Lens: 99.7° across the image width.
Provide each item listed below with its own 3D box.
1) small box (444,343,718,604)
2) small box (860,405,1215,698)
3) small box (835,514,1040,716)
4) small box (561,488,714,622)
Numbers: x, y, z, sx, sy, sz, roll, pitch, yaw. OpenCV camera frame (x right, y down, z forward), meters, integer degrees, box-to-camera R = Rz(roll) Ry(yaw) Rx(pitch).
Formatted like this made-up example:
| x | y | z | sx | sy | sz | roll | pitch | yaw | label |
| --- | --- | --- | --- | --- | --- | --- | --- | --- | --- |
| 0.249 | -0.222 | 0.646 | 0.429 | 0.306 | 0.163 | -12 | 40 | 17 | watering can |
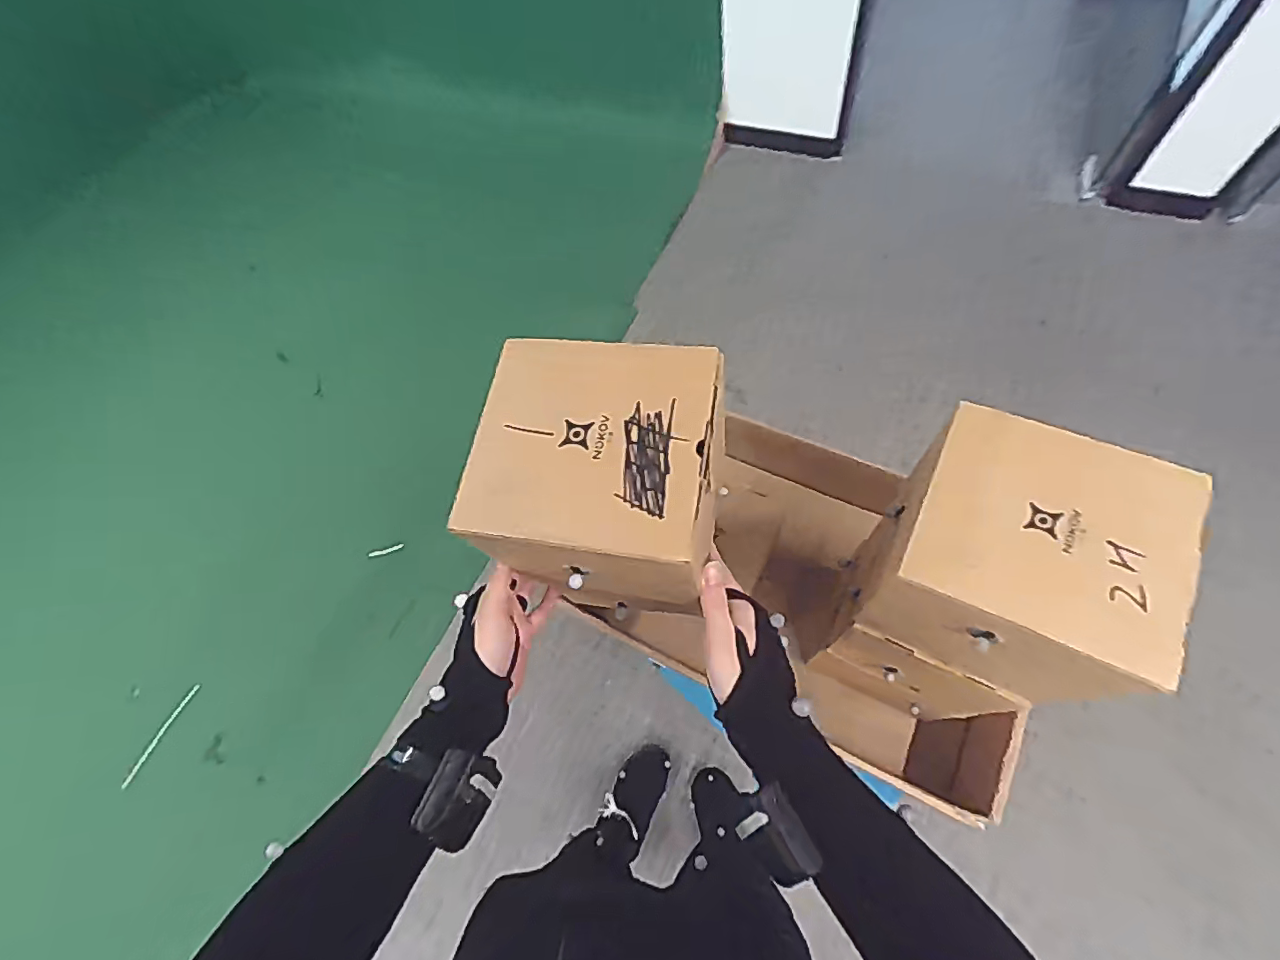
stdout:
| x | y | z | sx | sy | sz | roll | pitch | yaw | label |
| --- | --- | --- | --- | --- | --- | --- | --- | --- | --- |
| -0.029 | 0.004 | 0.464 | 0.179 | 0.176 | 0.168 | 6 | 68 | 13 | small box |
| 0.310 | 0.069 | 0.460 | 0.179 | 0.176 | 0.168 | 24 | 71 | 19 | small box |
| 0.336 | 0.141 | 0.607 | 0.168 | 0.176 | 0.179 | 24 | 71 | 19 | small box |
| -0.003 | 0.055 | 0.618 | 0.168 | 0.176 | 0.179 | 3 | 68 | 10 | small box |
